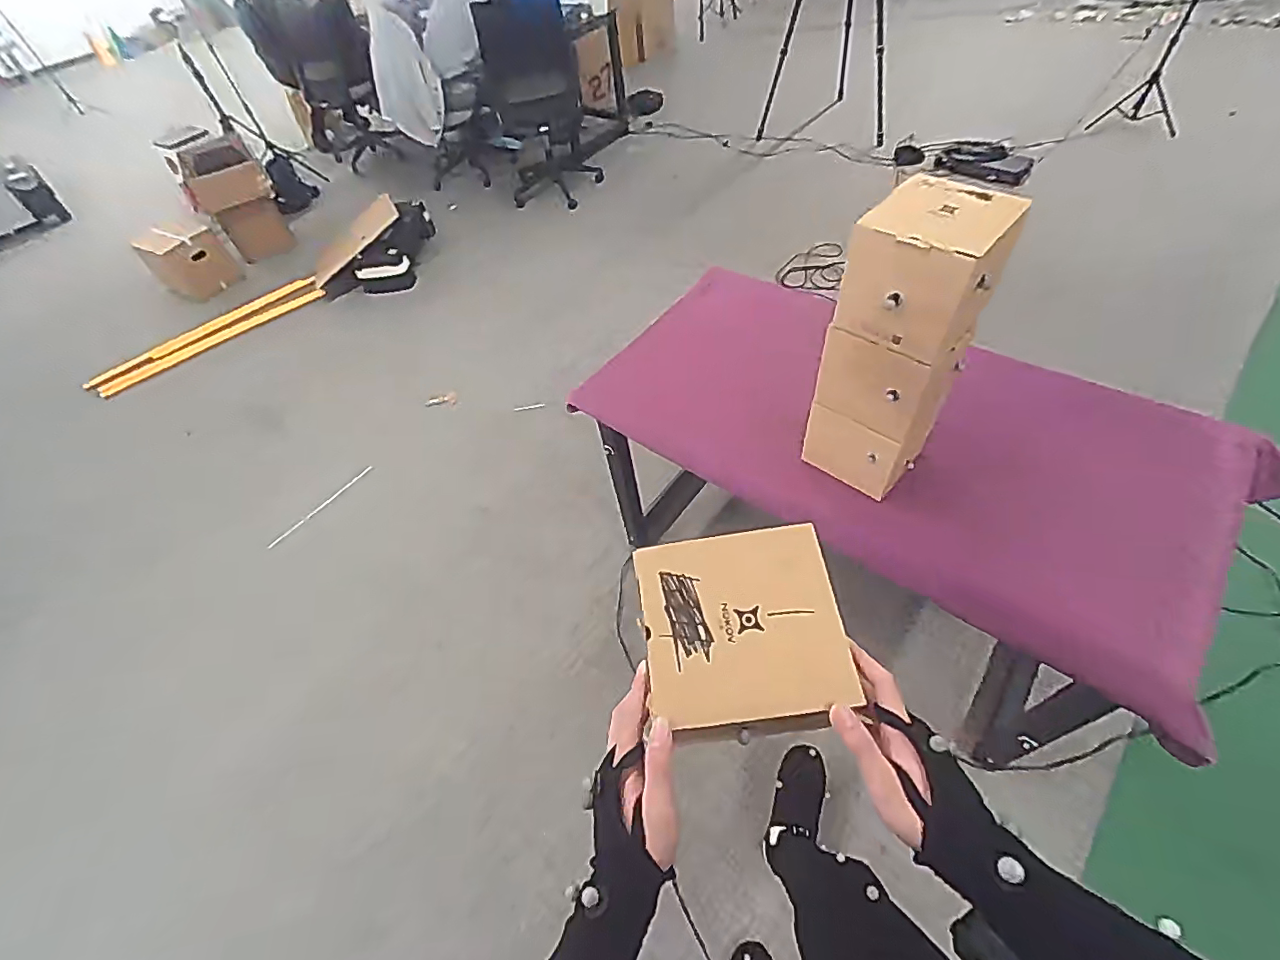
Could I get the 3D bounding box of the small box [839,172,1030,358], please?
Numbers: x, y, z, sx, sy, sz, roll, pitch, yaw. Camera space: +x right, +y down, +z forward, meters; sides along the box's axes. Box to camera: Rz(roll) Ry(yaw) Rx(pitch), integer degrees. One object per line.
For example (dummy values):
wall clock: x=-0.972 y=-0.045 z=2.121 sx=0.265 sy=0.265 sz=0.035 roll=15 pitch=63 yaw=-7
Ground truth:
small box: x=0.409 y=-0.308 z=0.782 sx=0.168 sy=0.176 sz=0.179 roll=35 pitch=64 yaw=29

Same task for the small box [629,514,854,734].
small box: x=0.092 y=0.154 z=0.549 sx=0.179 sy=0.176 sz=0.168 roll=-8 pitch=59 yaw=3

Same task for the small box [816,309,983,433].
small box: x=0.423 y=-0.204 z=0.907 sx=0.179 sy=0.176 sz=0.168 roll=35 pitch=64 yaw=29
